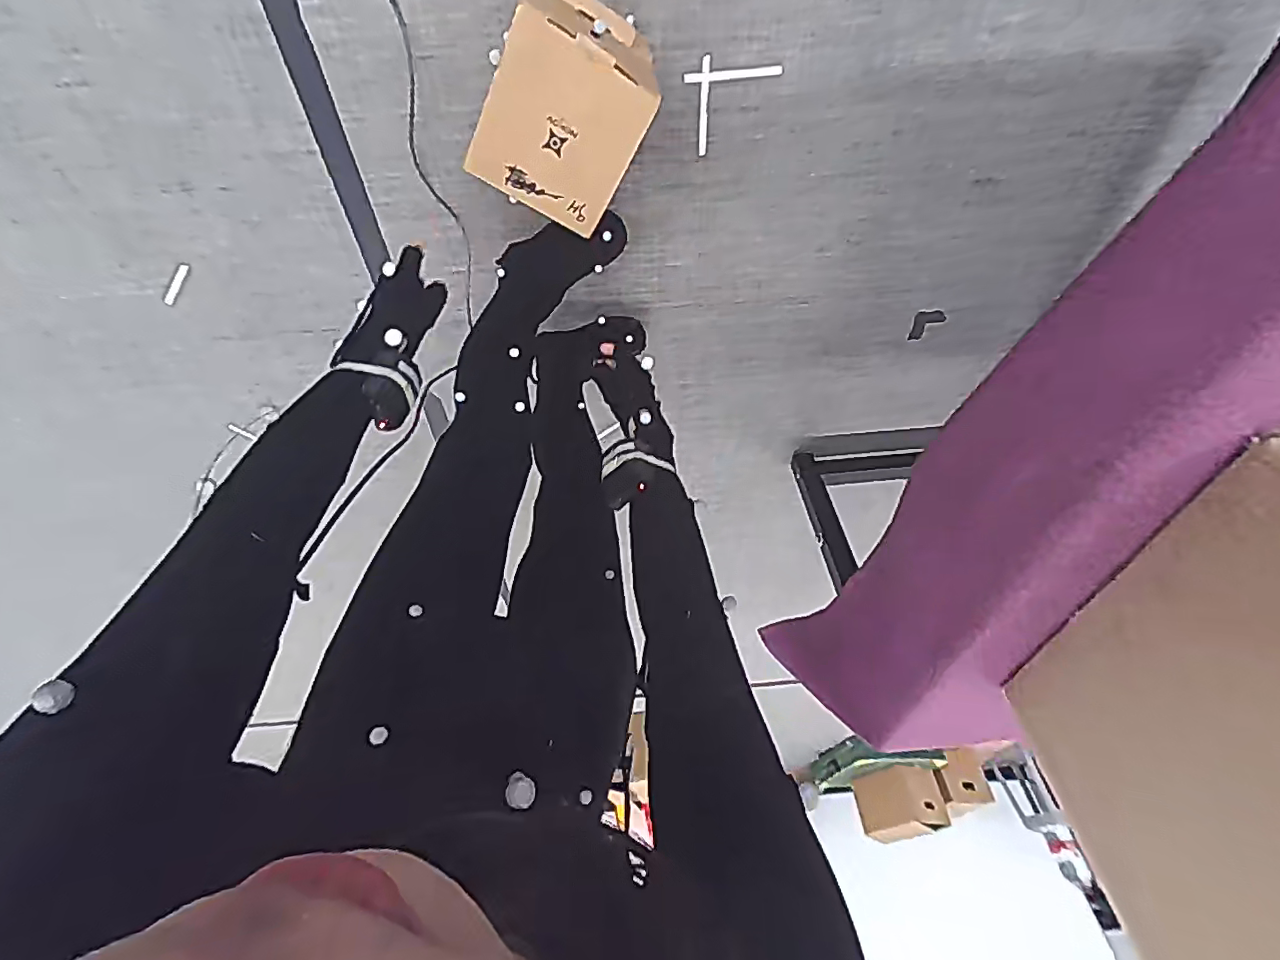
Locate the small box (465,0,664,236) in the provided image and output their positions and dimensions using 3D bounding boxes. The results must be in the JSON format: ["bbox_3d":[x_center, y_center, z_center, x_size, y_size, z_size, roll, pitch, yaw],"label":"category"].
[{"bbox_3d":[-0.093,-0.442,0.651,0.168,0.176,0.179,21,131,-25],"label":"small box"}]

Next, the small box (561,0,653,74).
[{"bbox_3d":[-0.101,-0.564,0.761,0.168,0.176,0.179,19,132,-23],"label":"small box"}]
